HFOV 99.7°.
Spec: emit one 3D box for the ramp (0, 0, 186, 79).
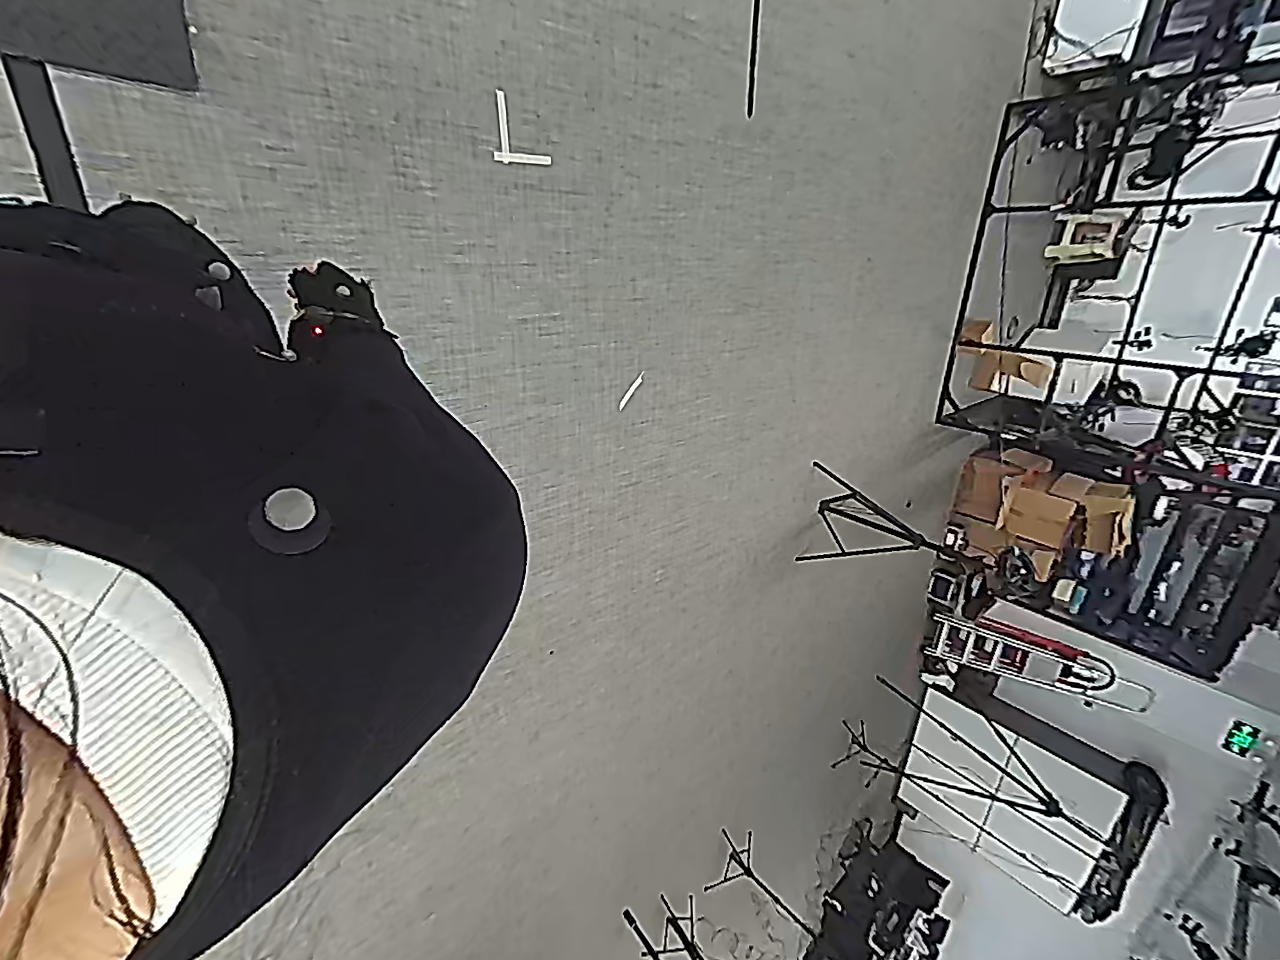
[{"bbox_3d":[-0.929,-1.116,0.612,0.509,0.206,0.991,-18,119,-40],"label":"ramp"}]
